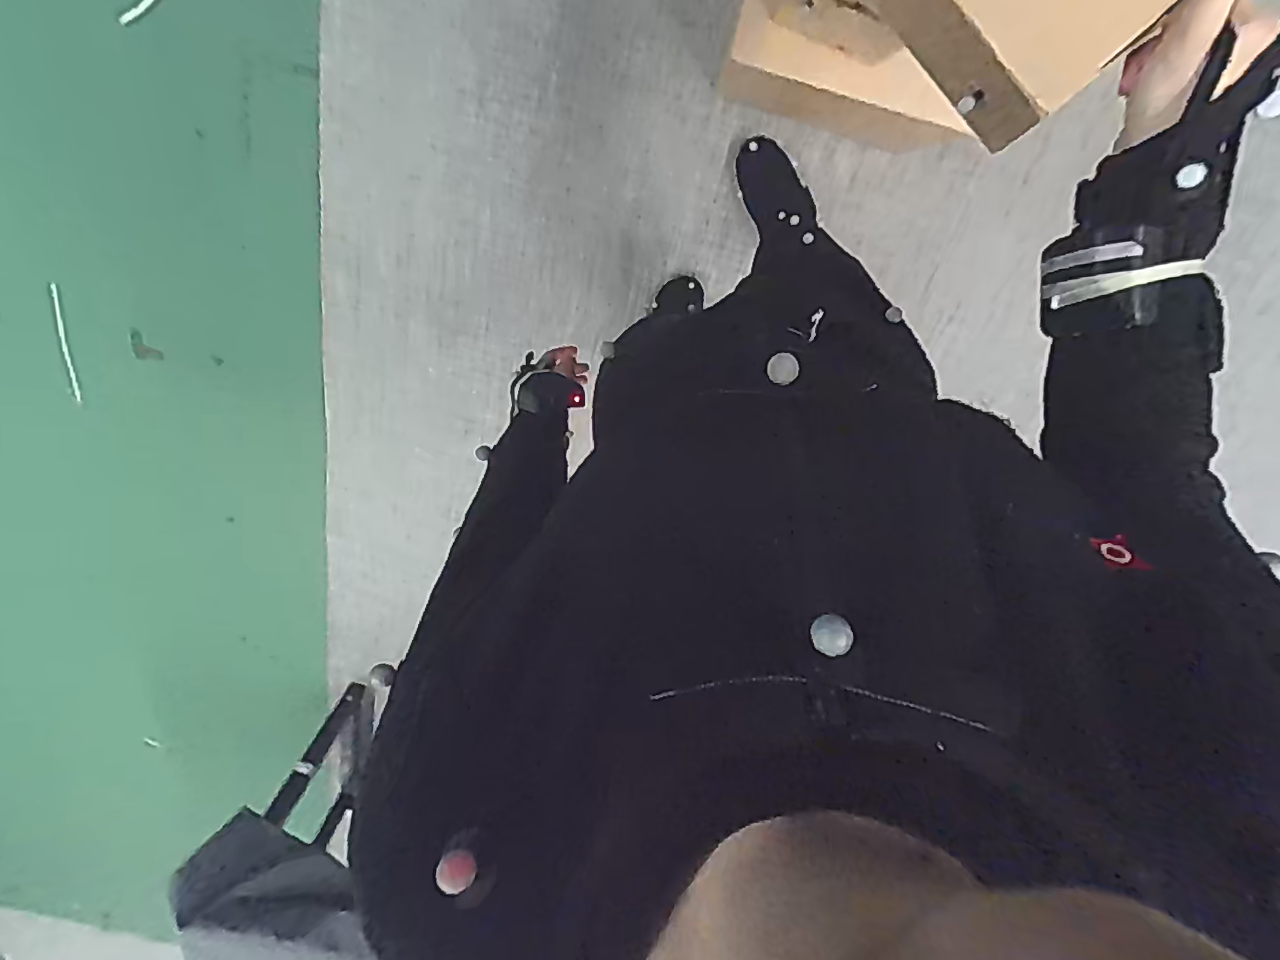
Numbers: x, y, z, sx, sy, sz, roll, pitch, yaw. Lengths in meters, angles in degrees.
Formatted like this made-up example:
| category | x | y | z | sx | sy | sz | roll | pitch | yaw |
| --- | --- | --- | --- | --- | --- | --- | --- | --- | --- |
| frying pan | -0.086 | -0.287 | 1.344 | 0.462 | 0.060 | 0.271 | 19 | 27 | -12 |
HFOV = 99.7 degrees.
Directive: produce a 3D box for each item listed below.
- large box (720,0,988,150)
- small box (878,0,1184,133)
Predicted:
| category | x | y | z | sx | sy | sz | roll | pitch | yaw |
| --- | --- | --- | --- | --- | --- | --- | --- | --- | --- |
| large box | 0.373 | -0.764 | 0.868 | 0.408 | 0.320 | 0.320 | 14 | 118 | -5 |
| small box | 0.277 | -0.364 | 0.353 | 0.179 | 0.176 | 0.168 | 48 | 121 | -2 |
